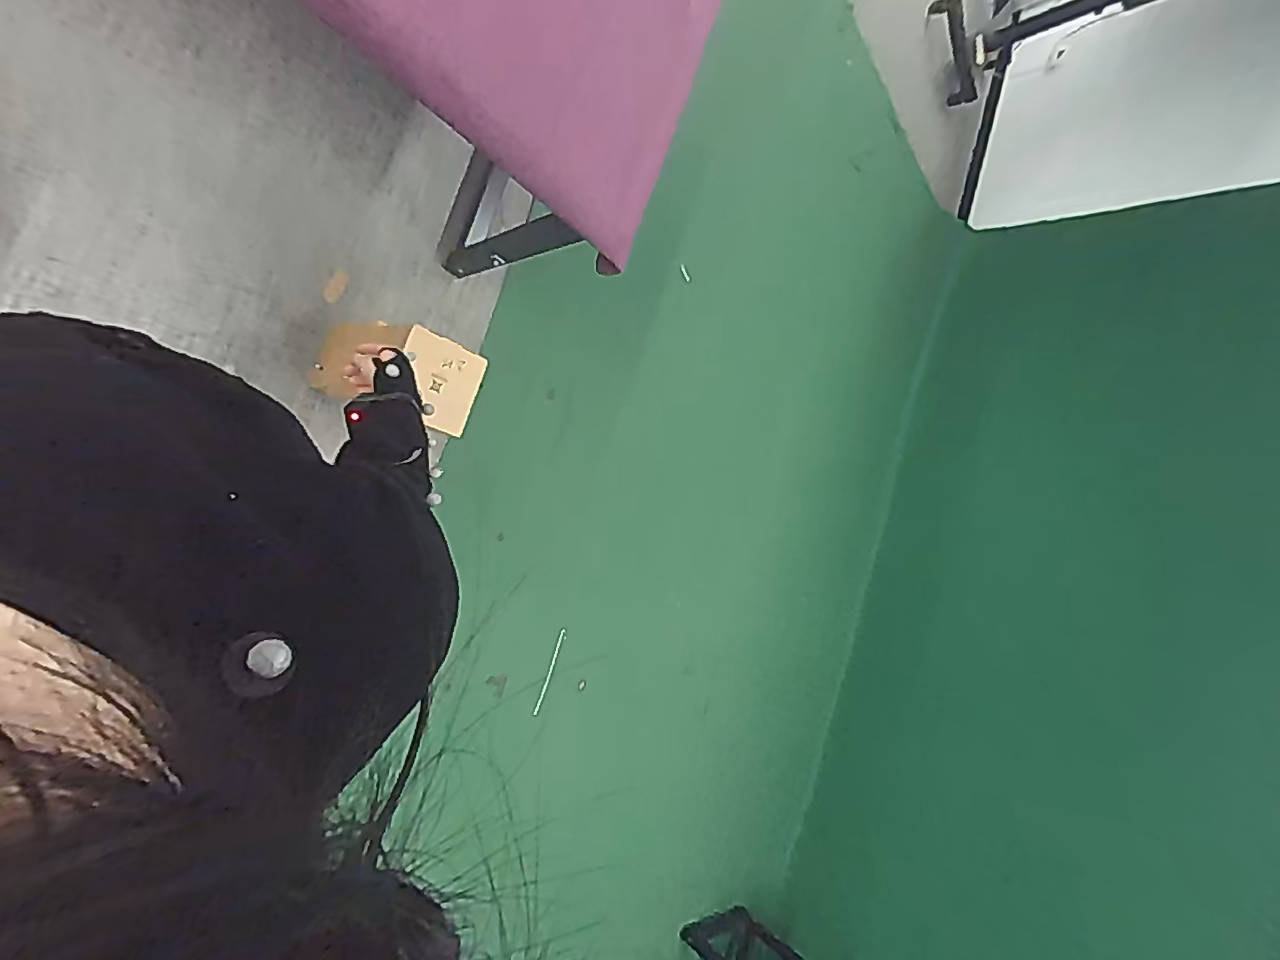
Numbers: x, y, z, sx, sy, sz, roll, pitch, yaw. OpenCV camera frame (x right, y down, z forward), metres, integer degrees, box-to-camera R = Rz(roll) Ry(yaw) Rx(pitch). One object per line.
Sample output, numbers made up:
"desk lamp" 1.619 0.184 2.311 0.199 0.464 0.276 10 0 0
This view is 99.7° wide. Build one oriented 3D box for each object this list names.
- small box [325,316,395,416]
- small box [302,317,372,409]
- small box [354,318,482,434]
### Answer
"small box" -0.580 -0.250 1.217 0.168 0.176 0.179 23 84 -45
"small box" -0.694 -0.278 1.328 0.179 0.176 0.168 27 80 -44
"small box" -0.460 -0.211 1.109 0.168 0.176 0.179 24 83 -45
